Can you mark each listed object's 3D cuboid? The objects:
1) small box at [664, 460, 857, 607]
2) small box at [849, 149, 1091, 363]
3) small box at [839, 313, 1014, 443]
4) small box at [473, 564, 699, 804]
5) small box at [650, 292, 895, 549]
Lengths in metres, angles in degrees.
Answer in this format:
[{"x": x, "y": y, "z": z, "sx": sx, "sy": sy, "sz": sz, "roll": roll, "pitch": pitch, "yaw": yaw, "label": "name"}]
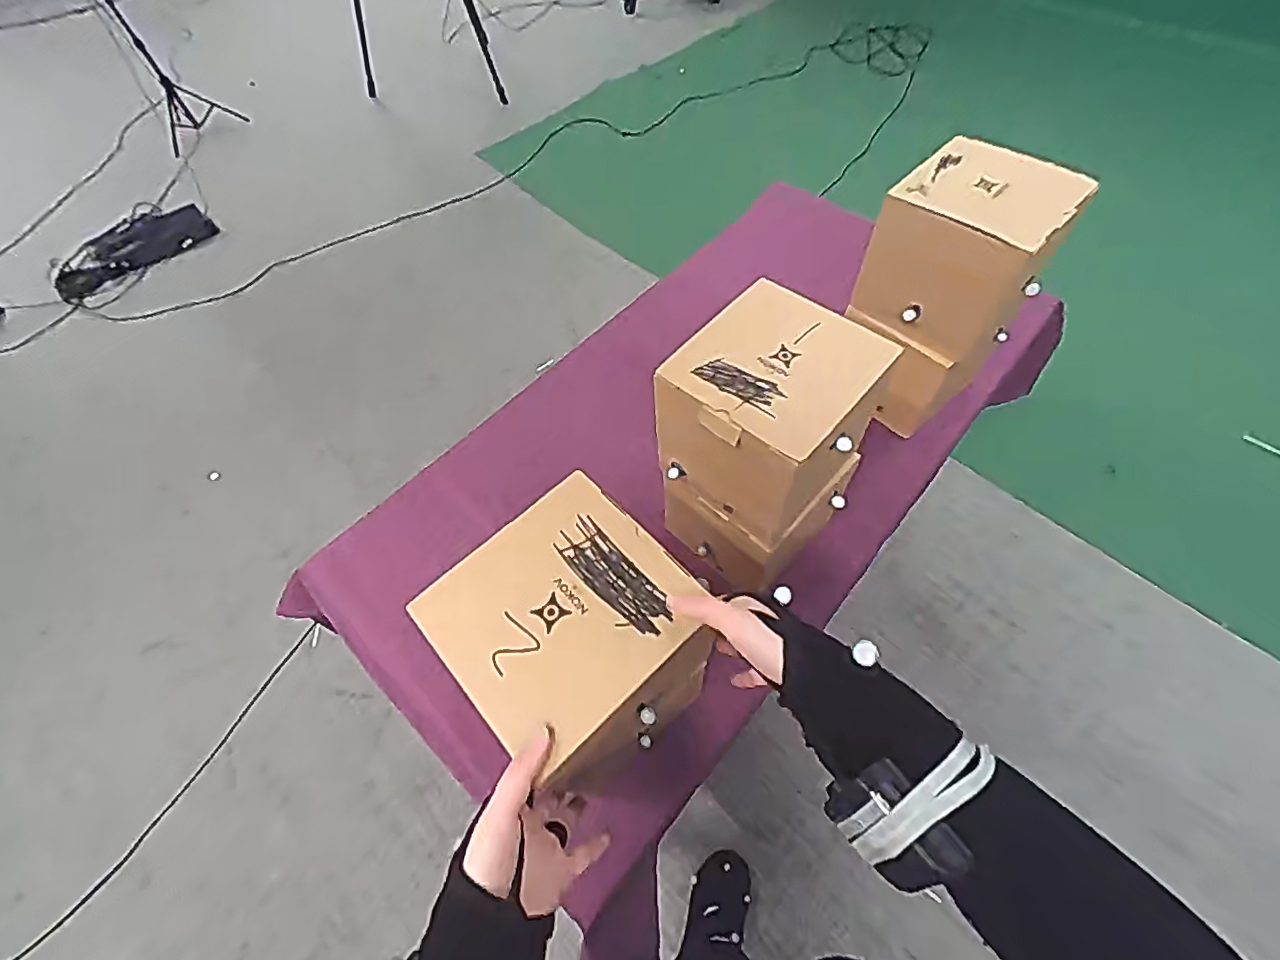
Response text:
[{"x": 0.148, "y": 0.034, "z": 0.714, "sx": 0.179, "sy": 0.176, "sz": 0.168, "roll": -41, "pitch": 63, "yaw": -19, "label": "small box"}, {"x": 0.404, "y": -0.278, "z": 0.693, "sx": 0.168, "sy": 0.176, "sz": 0.179, "roll": -41, "pitch": 64, "yaw": -20, "label": "small box"}, {"x": 0.413, "y": -0.189, "z": 0.831, "sx": 0.179, "sy": 0.176, "sz": 0.168, "roll": -38, "pitch": 63, "yaw": -18, "label": "small box"}, {"x": -0.050, "y": 0.234, "z": 0.607, "sx": 0.179, "sy": 0.176, "sz": 0.168, "roll": -37, "pitch": 63, "yaw": -18, "label": "small box"}, {"x": 0.131, "y": -0.057, "z": 0.577, "sx": 0.168, "sy": 0.176, "sz": 0.179, "roll": 37, "pitch": 67, "yaw": 23, "label": "small box"}]
